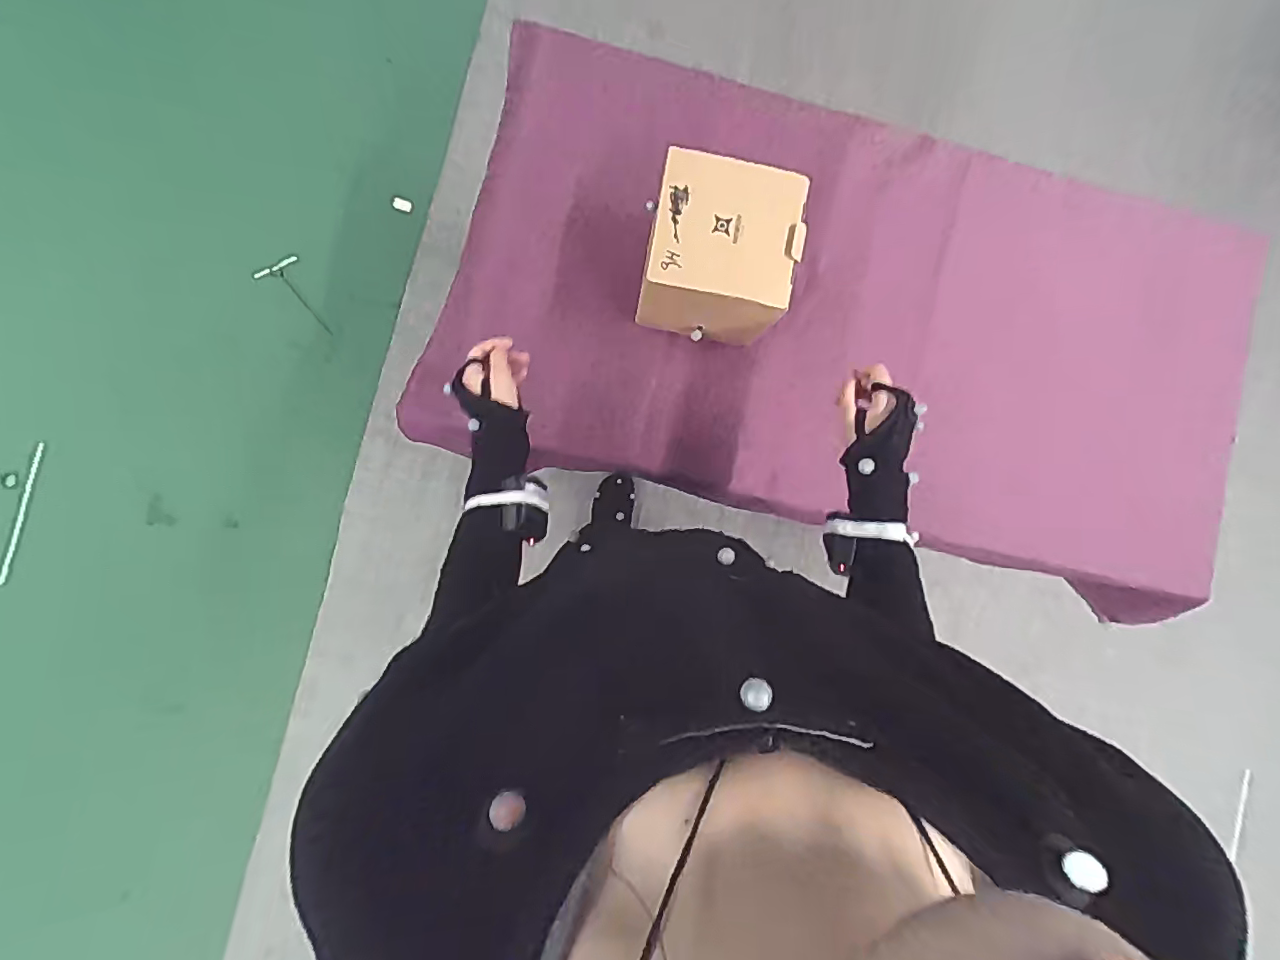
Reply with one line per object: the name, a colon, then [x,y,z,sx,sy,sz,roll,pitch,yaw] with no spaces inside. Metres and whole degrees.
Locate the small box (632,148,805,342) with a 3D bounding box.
small box: [0.092,-0.295,0.721,0.179,0.176,0.168,11,88,-4]
